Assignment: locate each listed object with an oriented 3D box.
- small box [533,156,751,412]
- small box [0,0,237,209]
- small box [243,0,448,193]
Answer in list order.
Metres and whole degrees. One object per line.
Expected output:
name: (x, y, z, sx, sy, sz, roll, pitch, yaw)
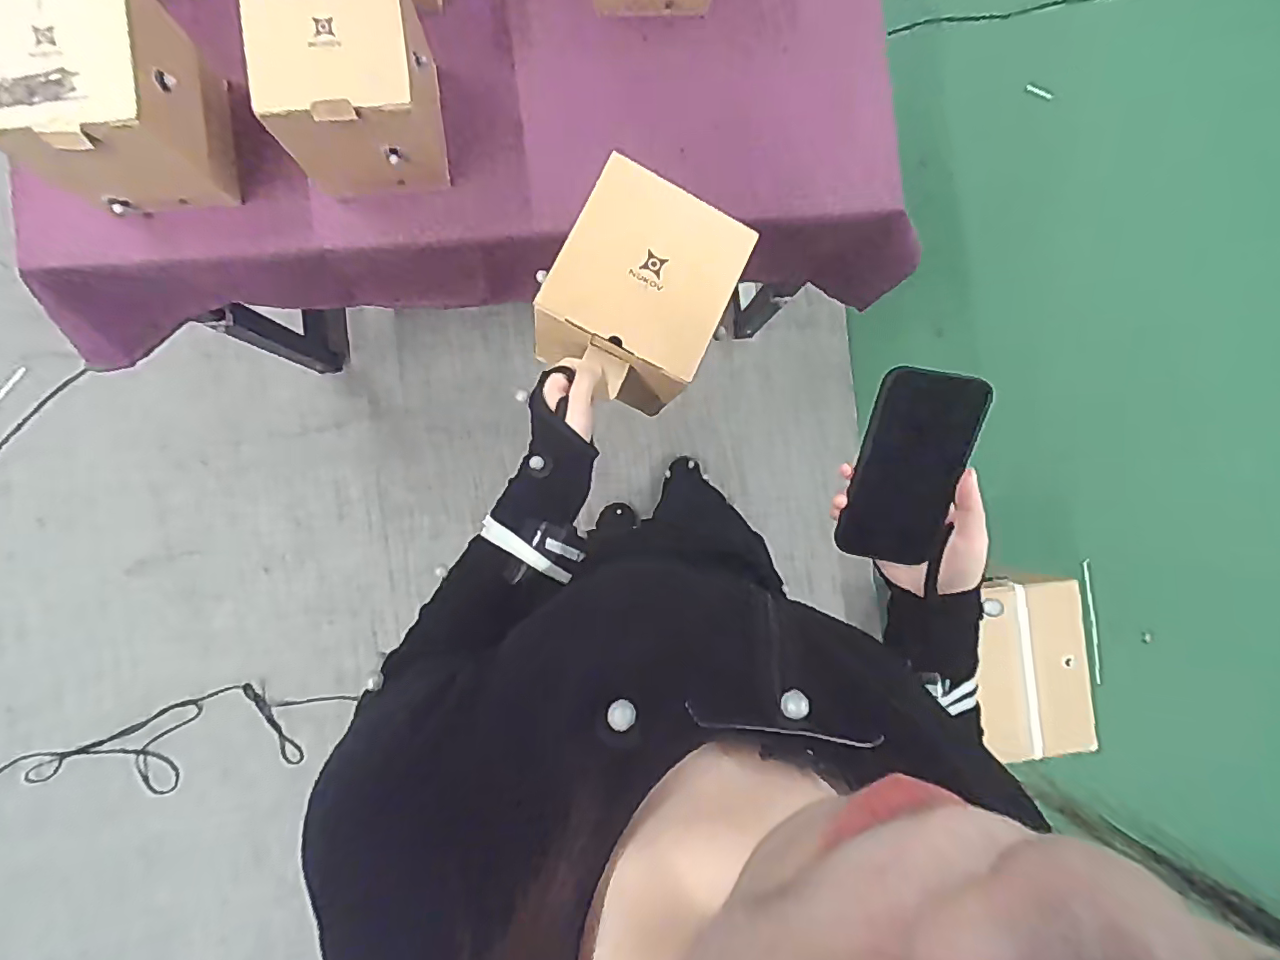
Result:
small box: (-0.009, -0.198, 0.599, 0.168, 0.176, 0.179, 26, 82, -8)
small box: (-0.616, -0.442, 0.638, 0.168, 0.176, 0.179, -7, 88, -5)
small box: (-0.345, -0.476, 0.663, 0.168, 0.176, 0.179, -6, 88, -6)
